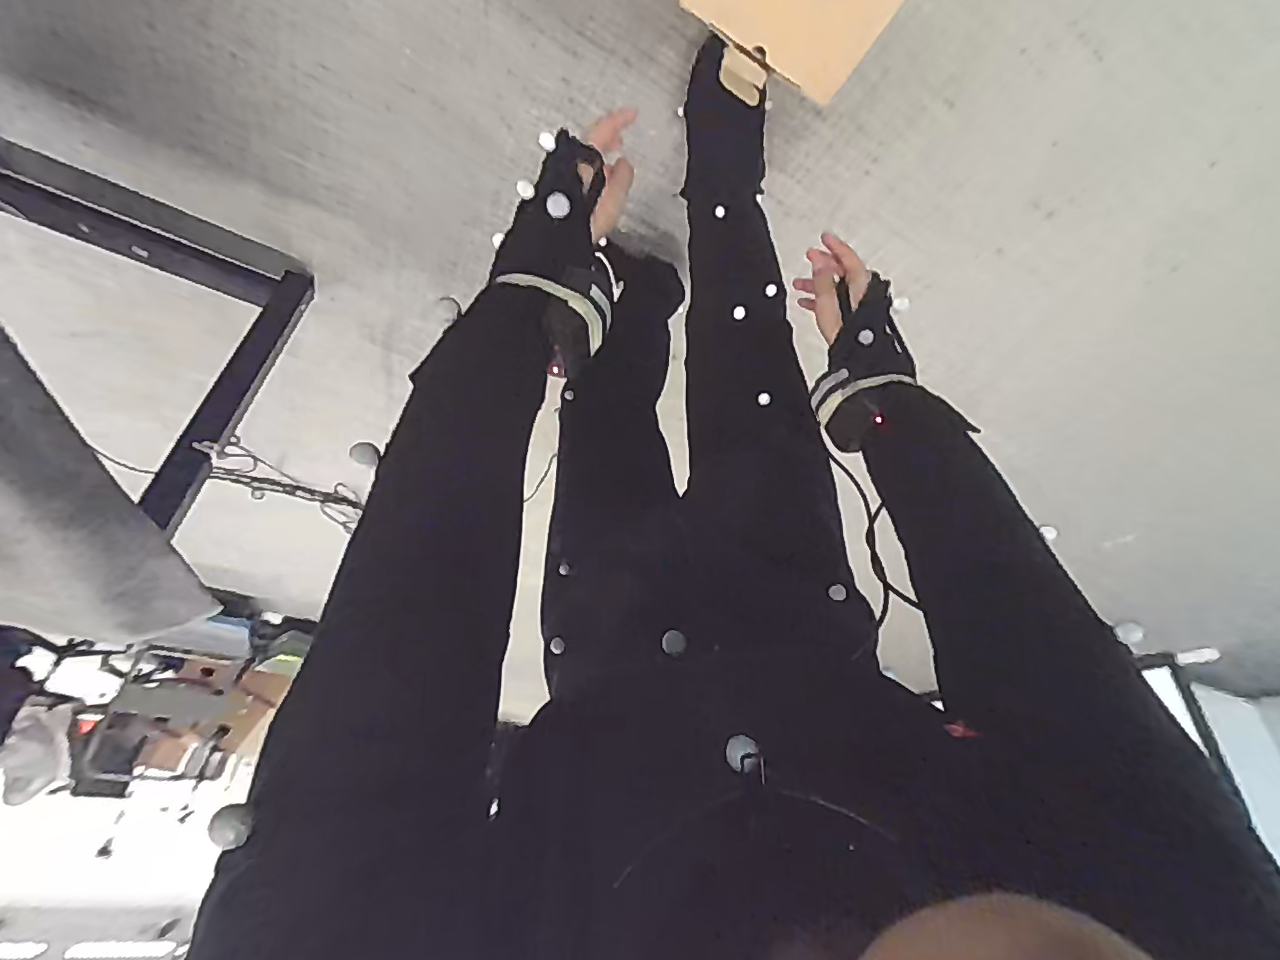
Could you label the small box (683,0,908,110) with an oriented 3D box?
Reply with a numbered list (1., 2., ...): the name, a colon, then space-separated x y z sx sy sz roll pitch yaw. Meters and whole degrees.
1. small box: 0.147 -0.480 0.461 0.168 0.176 0.179 18 145 -21
